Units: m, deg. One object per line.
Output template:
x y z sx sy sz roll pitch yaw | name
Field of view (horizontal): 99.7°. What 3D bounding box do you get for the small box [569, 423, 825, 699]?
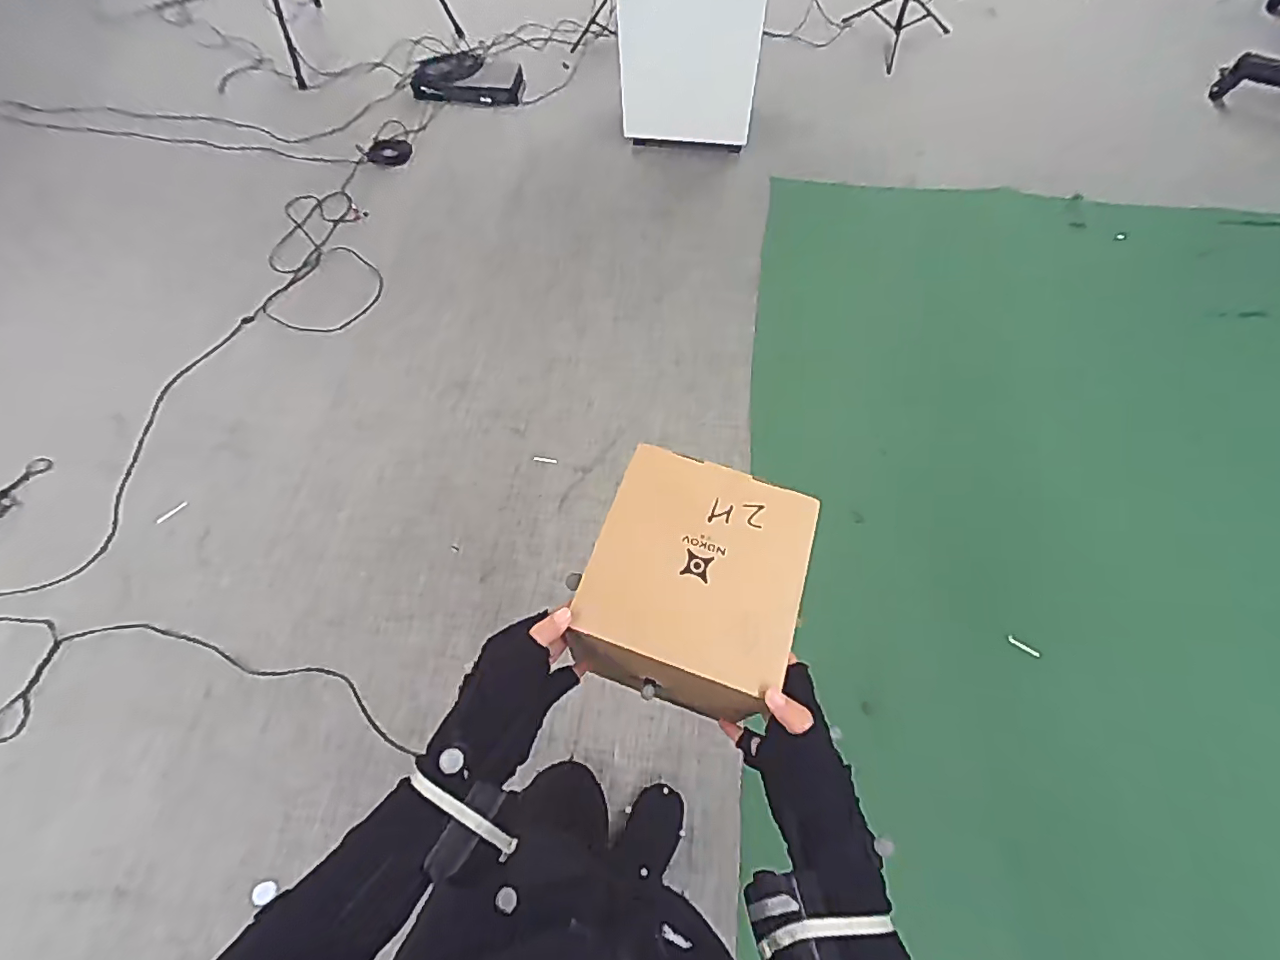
0.048 0.084 0.496 0.168 0.176 0.179 19 62 6 | small box
